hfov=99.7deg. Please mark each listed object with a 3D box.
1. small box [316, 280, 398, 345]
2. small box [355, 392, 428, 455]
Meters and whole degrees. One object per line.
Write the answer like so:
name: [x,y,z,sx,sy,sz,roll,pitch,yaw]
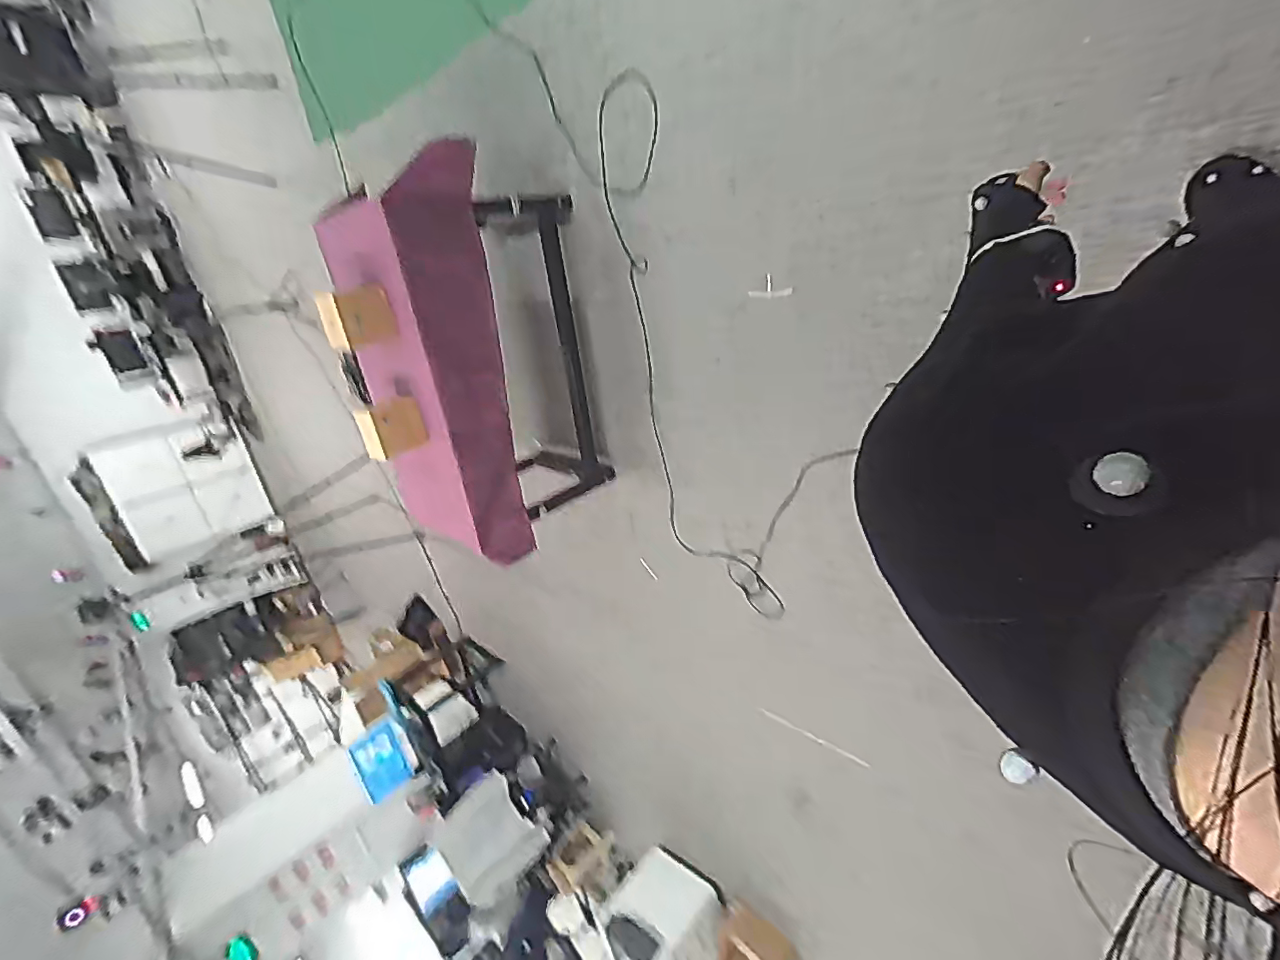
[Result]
small box: [-0.923,-0.553,1.777,0.168,0.176,0.179,15,122,41]
small box: [-0.885,-0.207,1.939,0.168,0.176,0.179,10,118,44]
